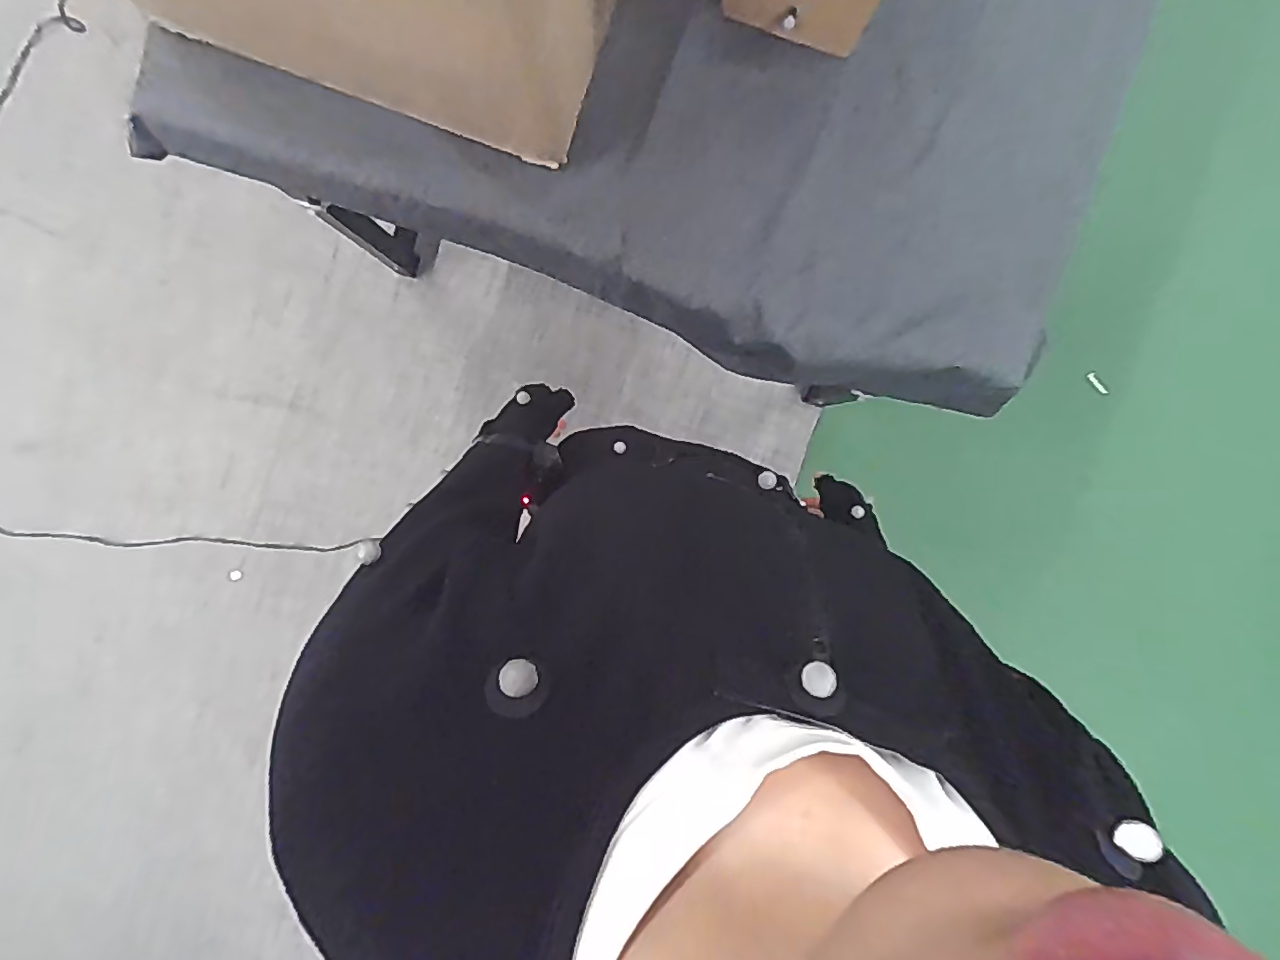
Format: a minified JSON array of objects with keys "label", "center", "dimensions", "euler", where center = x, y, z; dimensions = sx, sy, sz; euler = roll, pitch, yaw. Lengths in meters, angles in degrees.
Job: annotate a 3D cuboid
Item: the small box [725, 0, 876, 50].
[{"label":"small box","center":[0.213,-0.645,0.615],"dimensions":[0.179,0.176,0.168],"euler":[17,94,-2]}]
